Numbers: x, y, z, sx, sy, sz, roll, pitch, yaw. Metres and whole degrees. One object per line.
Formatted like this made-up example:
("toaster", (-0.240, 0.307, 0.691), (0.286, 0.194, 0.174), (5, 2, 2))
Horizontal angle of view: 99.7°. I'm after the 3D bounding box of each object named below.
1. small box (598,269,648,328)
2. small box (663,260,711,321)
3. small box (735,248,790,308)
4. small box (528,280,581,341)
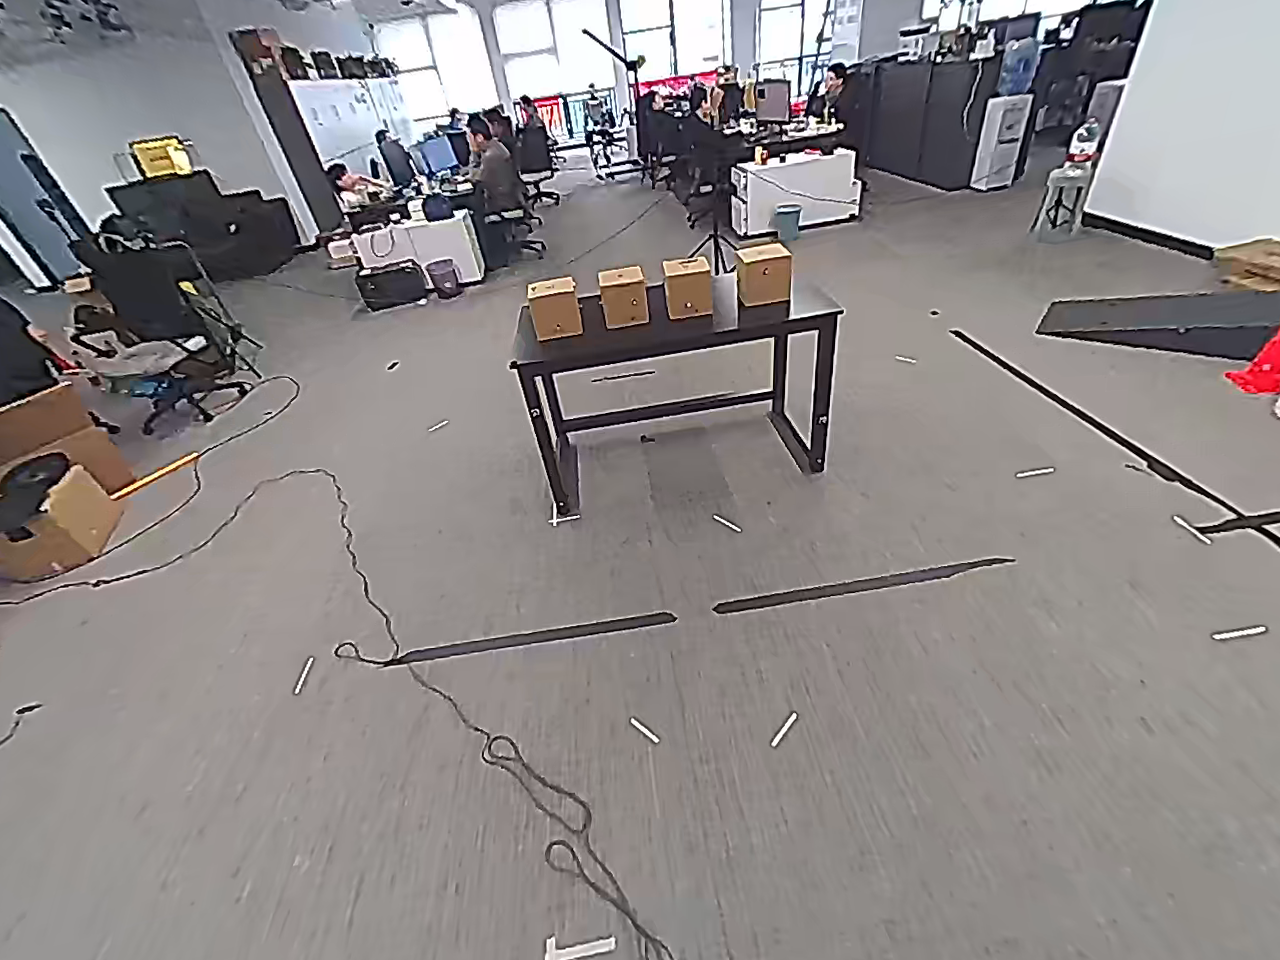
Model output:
("small box", (-0.067, -0.696, 2.089), (0.168, 0.176, 0.179), (-9, 36, -2))
("small box", (0.180, -0.729, 2.080), (0.168, 0.176, 0.179), (-7, 38, 2))
("small box", (0.469, -0.775, 2.080), (0.179, 0.176, 0.168), (-8, 37, 1))
("small box", (-0.325, -0.650, 2.078), (0.179, 0.176, 0.168), (-10, 37, -3))
